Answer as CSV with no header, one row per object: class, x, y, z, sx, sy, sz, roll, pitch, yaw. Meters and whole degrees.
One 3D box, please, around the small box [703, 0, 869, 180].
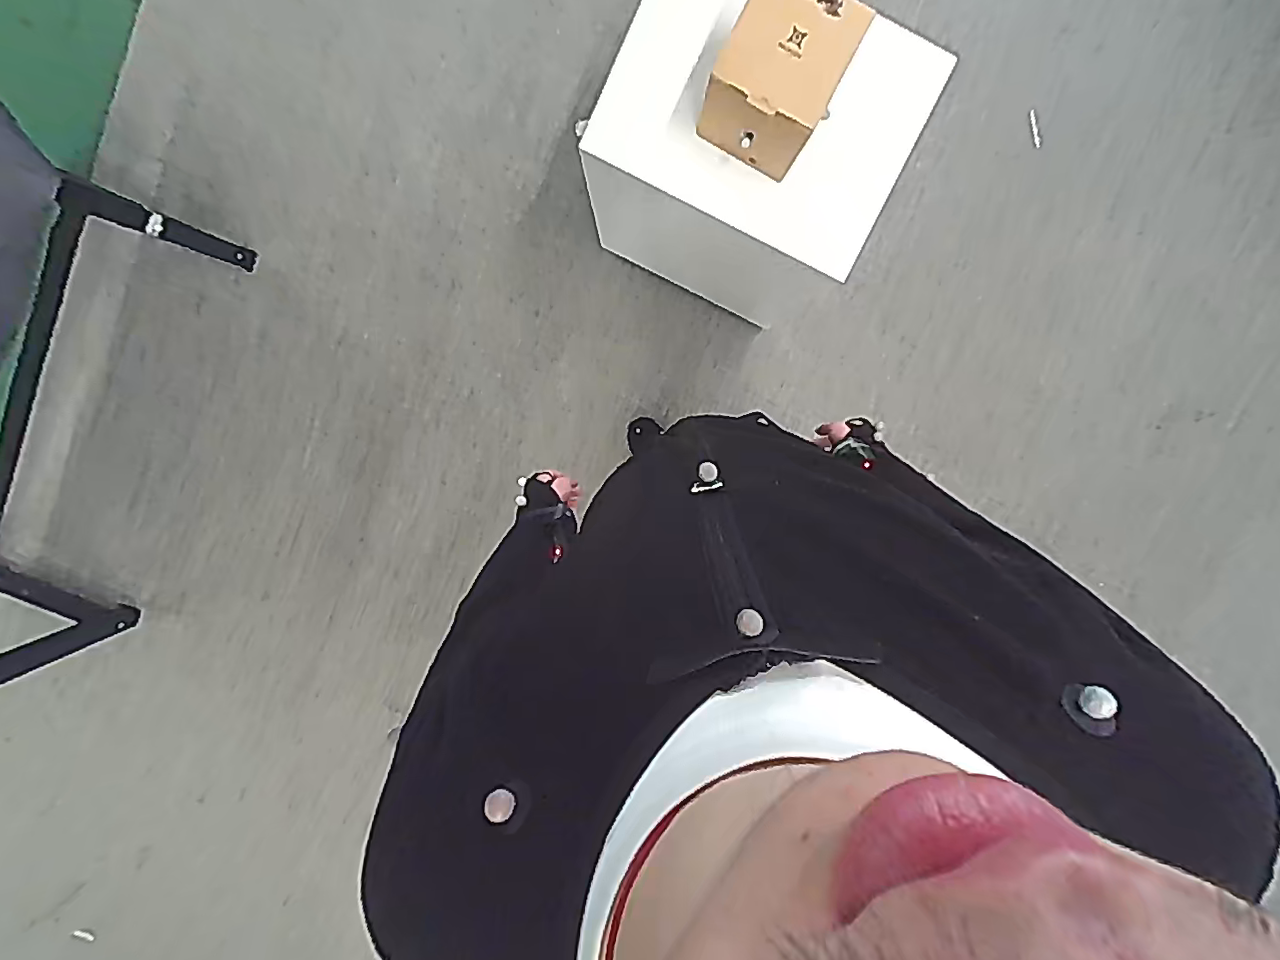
small box,0.206,-0.600,0.823,0.168,0.176,0.179,25,95,-3
